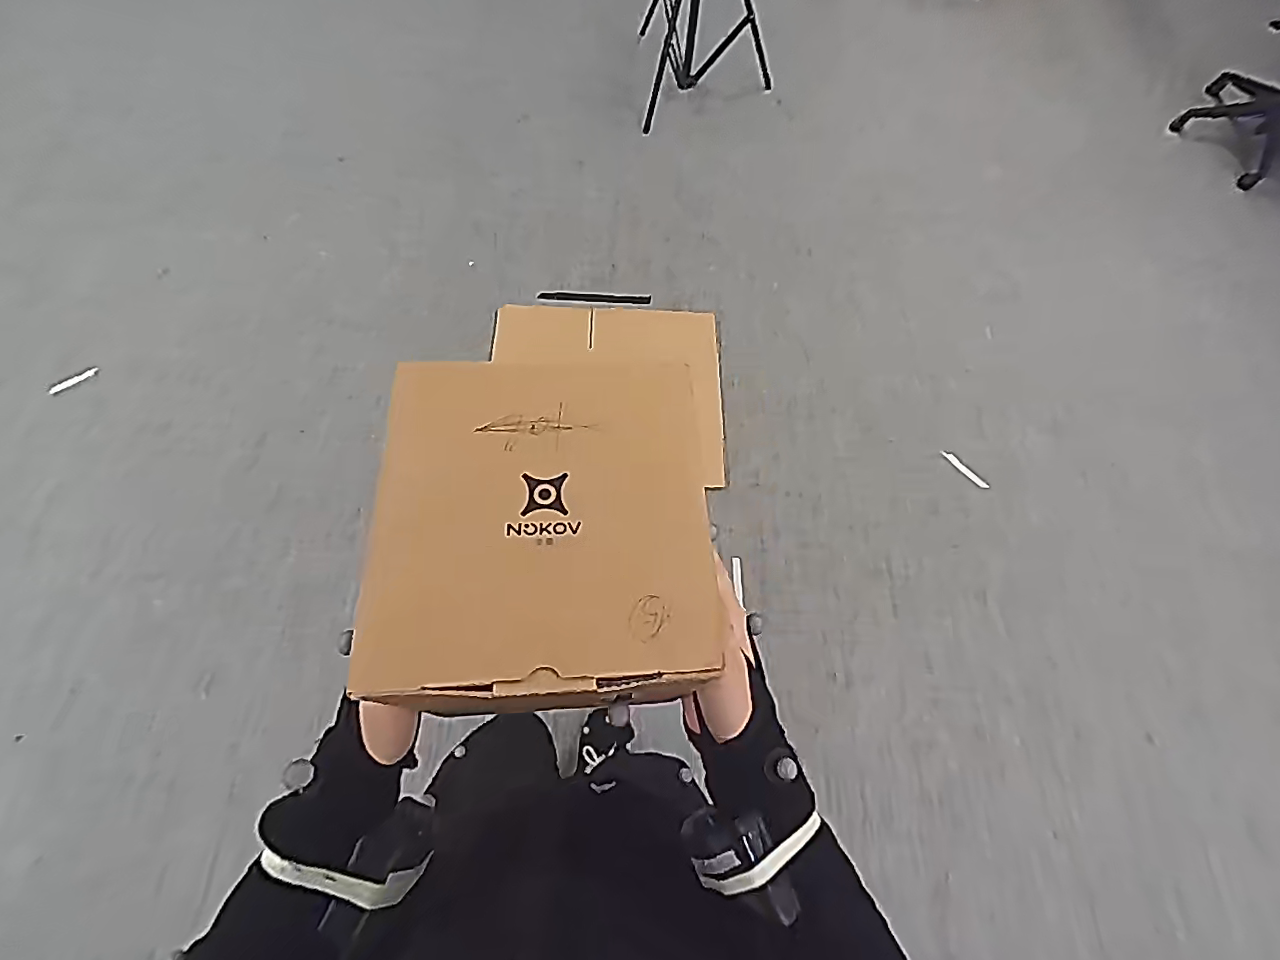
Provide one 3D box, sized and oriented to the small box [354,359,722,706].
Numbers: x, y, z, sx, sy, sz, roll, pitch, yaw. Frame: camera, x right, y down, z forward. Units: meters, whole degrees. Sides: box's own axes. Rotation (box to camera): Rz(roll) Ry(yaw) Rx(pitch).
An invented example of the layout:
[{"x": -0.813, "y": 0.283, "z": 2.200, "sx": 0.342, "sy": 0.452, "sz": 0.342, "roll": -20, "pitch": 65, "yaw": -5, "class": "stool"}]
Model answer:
[{"x": -0.055, "y": 0.044, "z": 0.344, "sx": 0.168, "sy": 0.176, "sz": 0.179, "roll": -2, "pitch": 64, "yaw": -7, "class": "small box"}]
